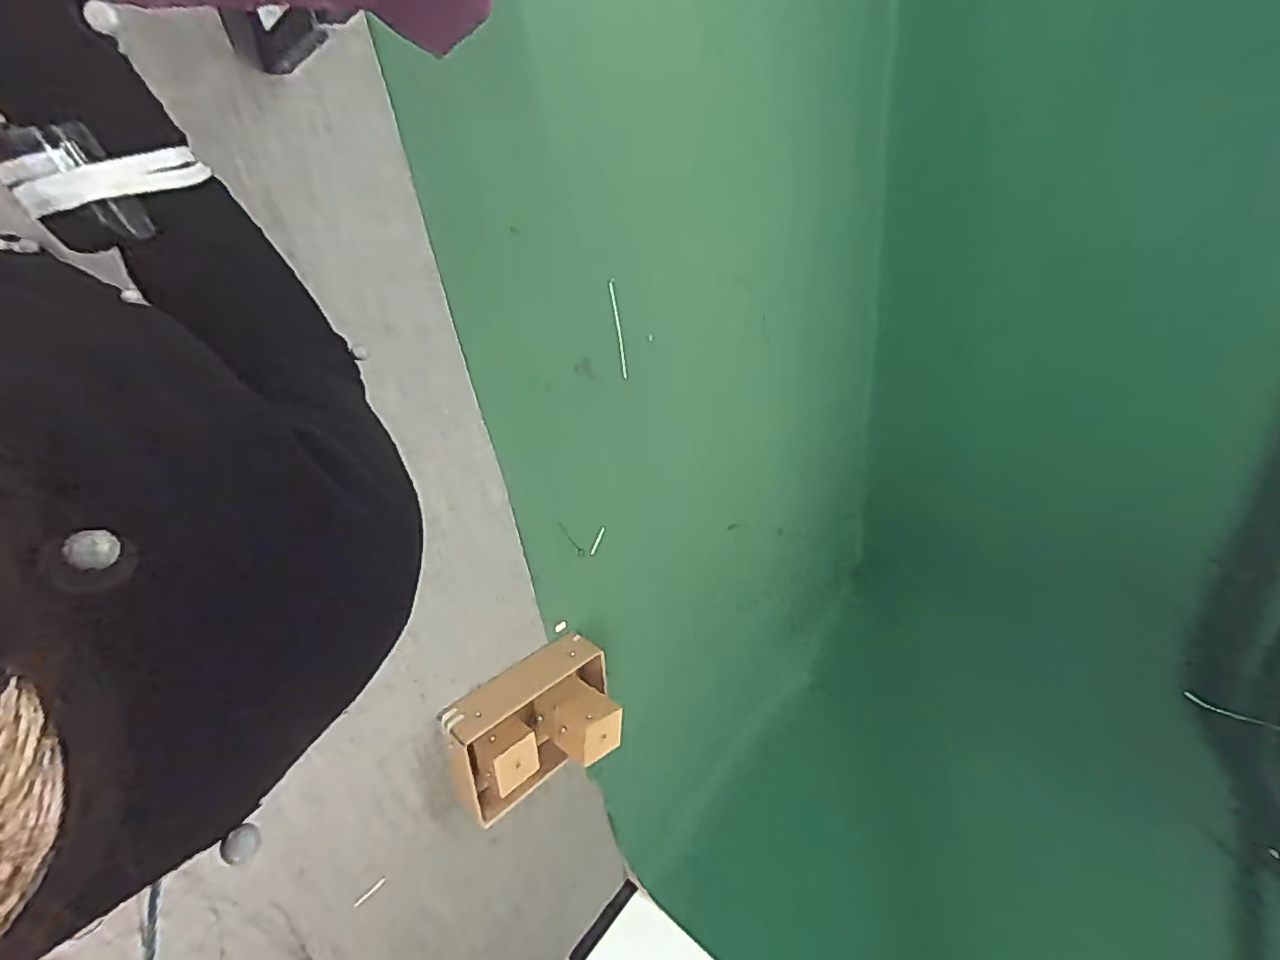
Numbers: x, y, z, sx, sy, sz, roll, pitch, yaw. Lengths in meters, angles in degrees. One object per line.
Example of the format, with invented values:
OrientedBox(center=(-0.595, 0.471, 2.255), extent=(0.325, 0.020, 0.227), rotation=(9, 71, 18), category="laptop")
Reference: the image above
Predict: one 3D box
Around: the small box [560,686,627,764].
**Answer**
OrientedBox(center=(-0.172, 0.889, 1.982), extent=(0.179, 0.176, 0.168), rotation=(-10, 109, -44), category="small box")
